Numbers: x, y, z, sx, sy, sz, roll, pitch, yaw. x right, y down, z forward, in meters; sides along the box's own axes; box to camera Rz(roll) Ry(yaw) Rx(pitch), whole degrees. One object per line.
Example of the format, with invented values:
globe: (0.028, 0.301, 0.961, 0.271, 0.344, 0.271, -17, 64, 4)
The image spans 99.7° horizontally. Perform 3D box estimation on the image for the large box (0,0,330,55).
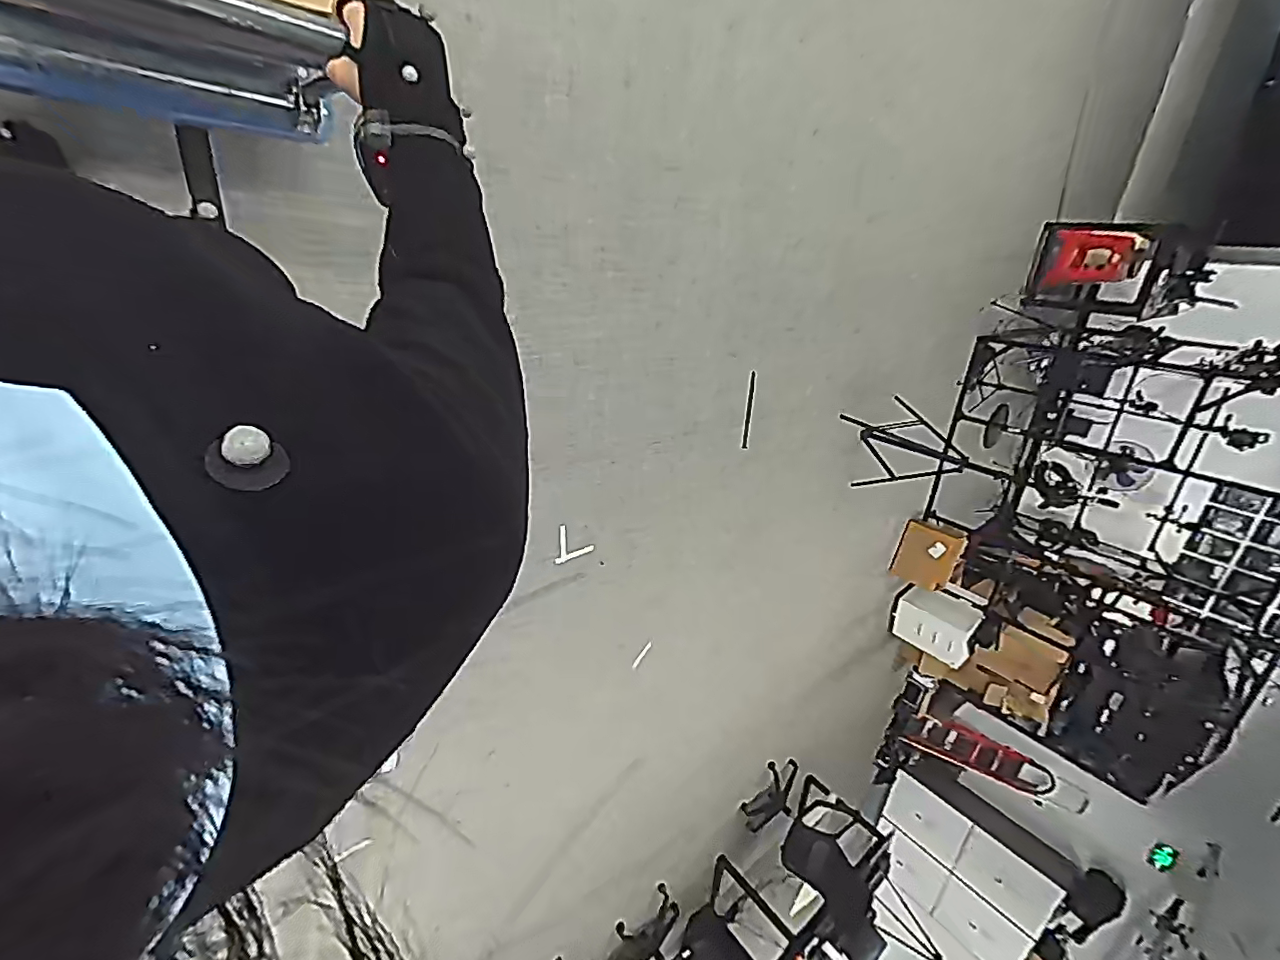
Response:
large box: (-0.680, -0.796, 0.682, 0.408, 0.320, 0.320, -18, 122, -38)
